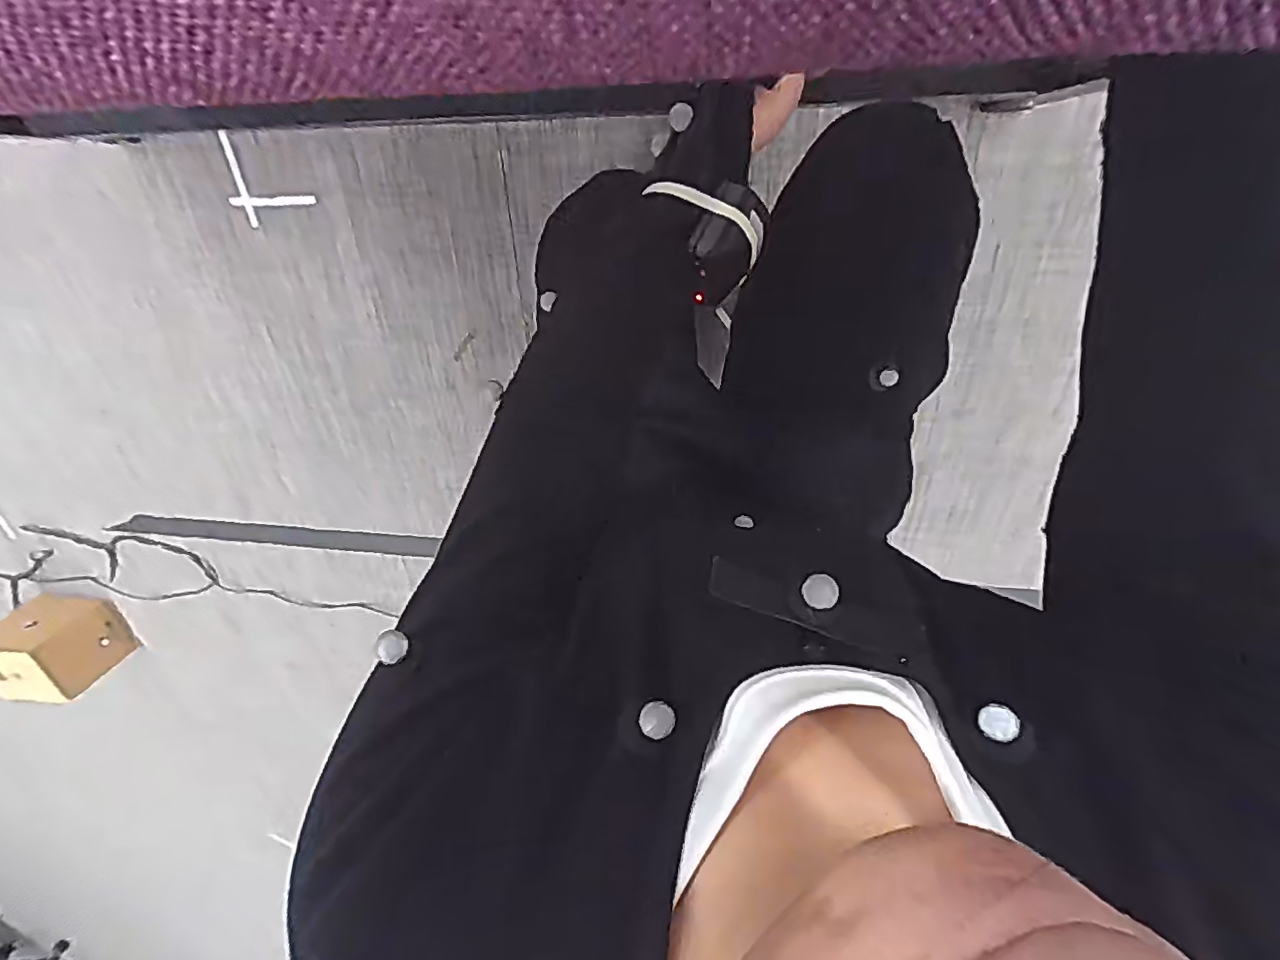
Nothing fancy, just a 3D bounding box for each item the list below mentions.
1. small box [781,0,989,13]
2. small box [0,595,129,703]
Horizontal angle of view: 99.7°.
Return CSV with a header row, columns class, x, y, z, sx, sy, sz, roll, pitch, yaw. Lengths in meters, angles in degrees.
class,x,y,z,sx,sy,sz,roll,pitch,yaw
small box,0.194,-0.431,0.363,0.179,0.176,0.168,6,127,6
small box,-1.366,0.385,1.252,0.179,0.176,0.168,2,120,7
